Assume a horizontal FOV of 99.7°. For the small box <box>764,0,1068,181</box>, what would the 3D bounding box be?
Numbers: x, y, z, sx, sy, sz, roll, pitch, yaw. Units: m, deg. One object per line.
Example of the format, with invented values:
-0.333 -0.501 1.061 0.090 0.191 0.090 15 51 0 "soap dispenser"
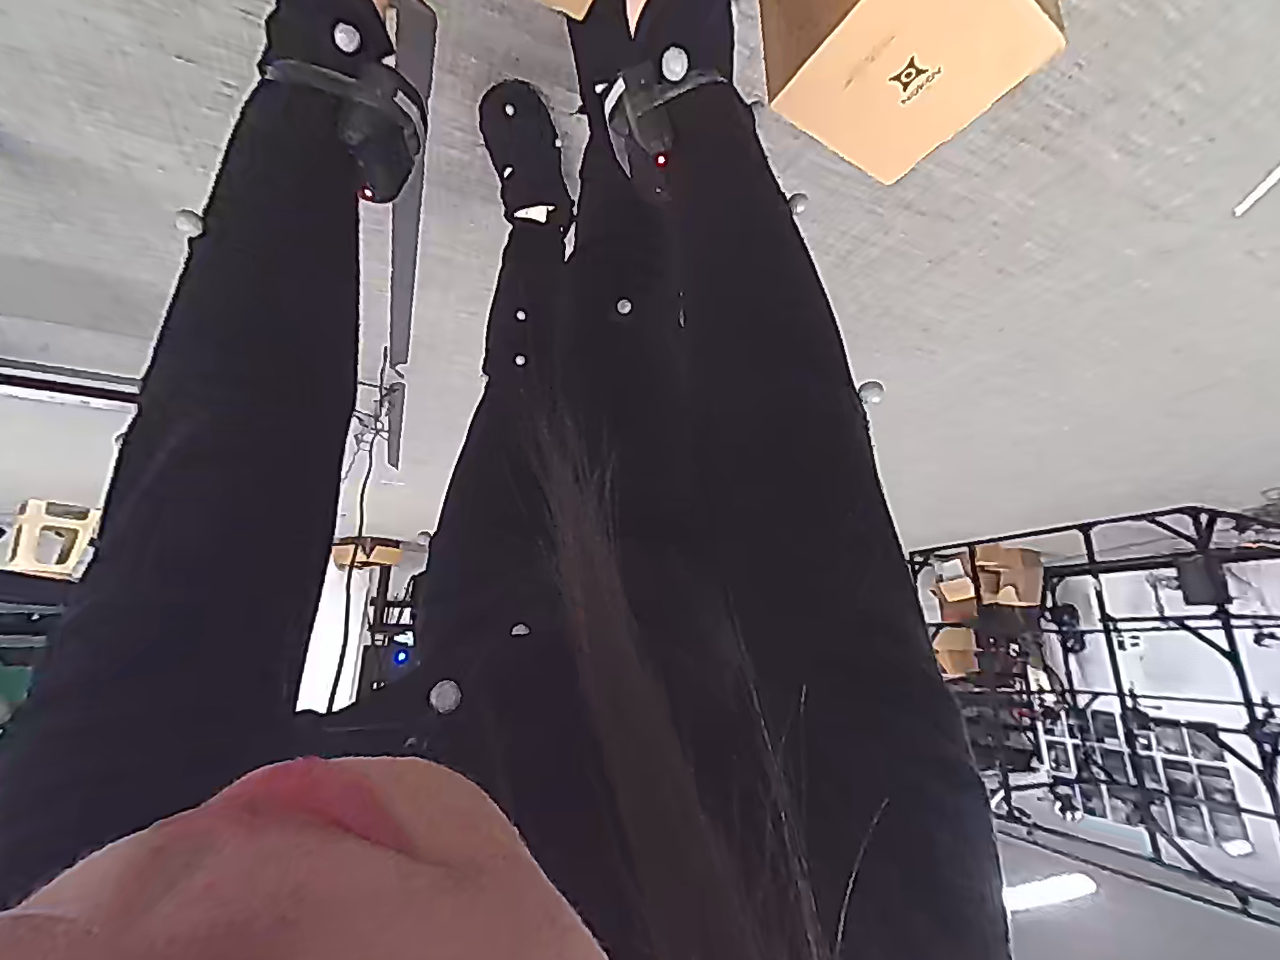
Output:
0.228 -0.416 0.472 0.179 0.176 0.168 10 161 -31 "small box"
